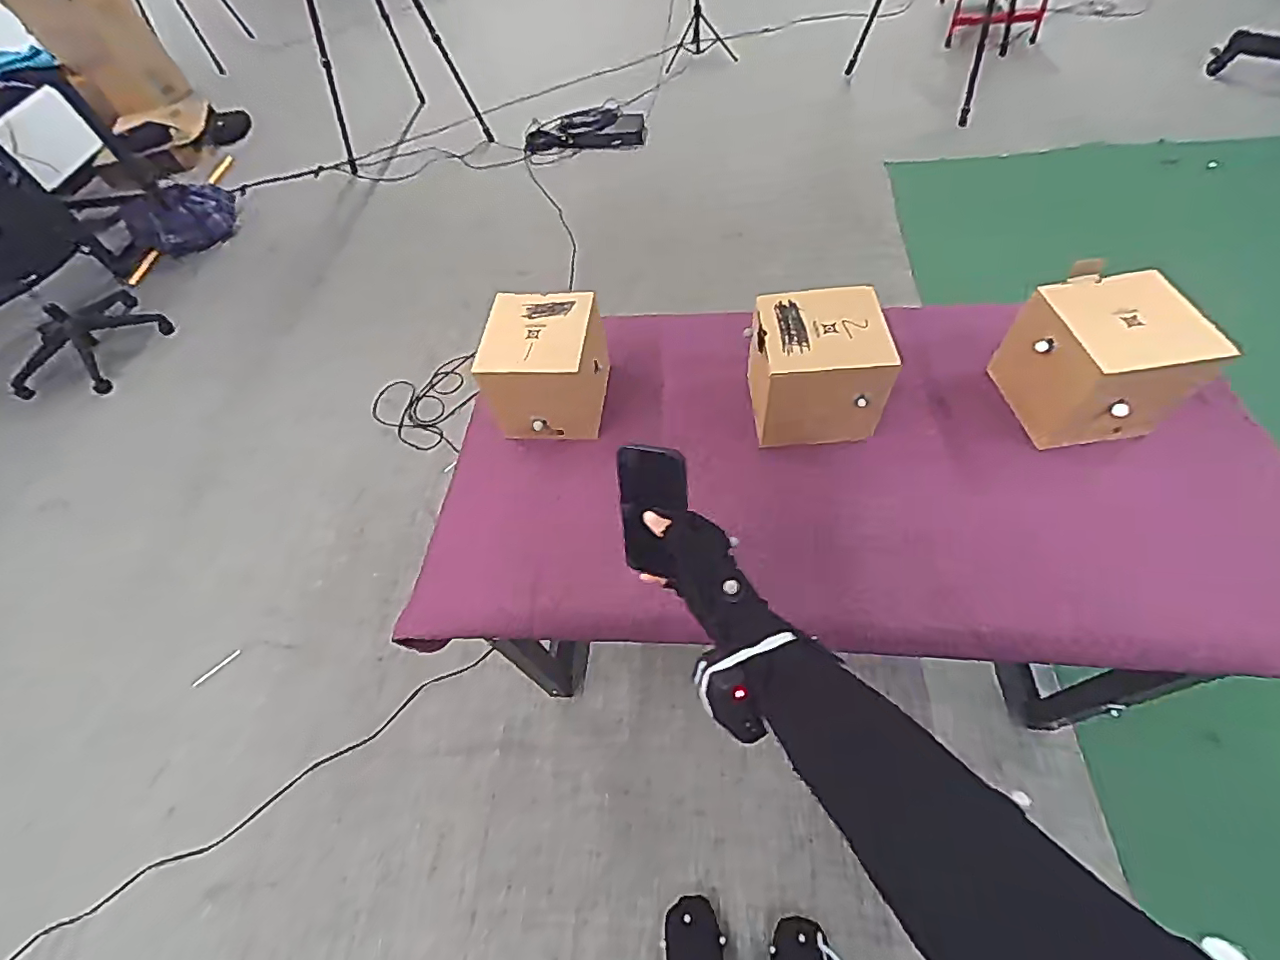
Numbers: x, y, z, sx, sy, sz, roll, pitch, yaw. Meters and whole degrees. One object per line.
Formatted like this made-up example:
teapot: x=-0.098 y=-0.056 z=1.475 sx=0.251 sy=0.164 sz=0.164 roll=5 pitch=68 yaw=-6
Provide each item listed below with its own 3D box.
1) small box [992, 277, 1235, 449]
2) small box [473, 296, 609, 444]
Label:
small box: x=0.657 y=-0.158 z=0.781 sx=0.168 sy=0.176 sz=0.179 roll=-8 pitch=55 yaw=3
small box: x=-0.149 y=-0.180 z=0.894 sx=0.168 sy=0.176 sz=0.179 roll=2 pitch=59 yaw=8
